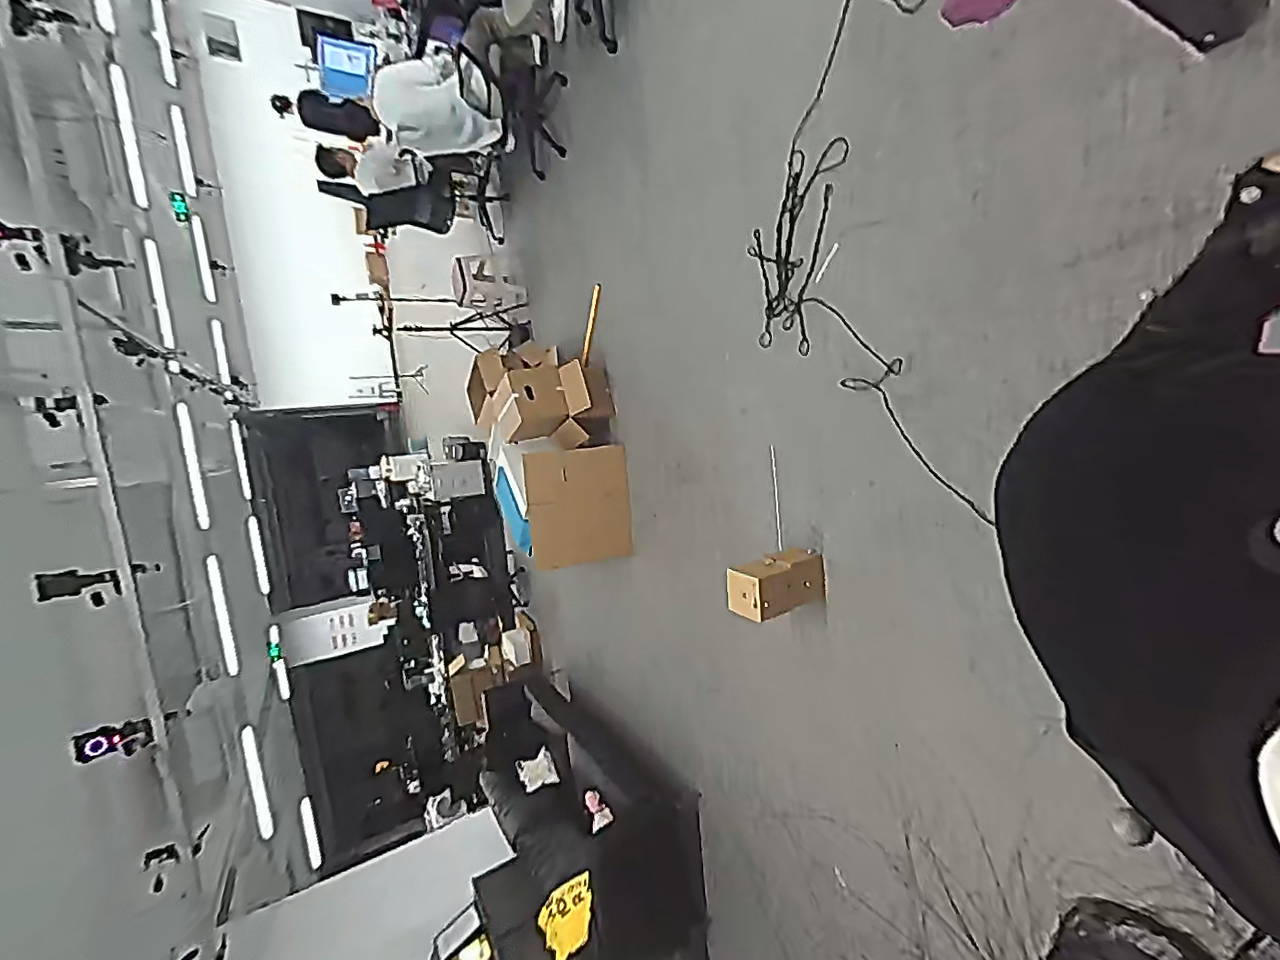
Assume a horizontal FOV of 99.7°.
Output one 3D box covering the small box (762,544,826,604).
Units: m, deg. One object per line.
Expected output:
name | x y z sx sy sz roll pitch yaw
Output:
small box | 0.593 0.353 2.072 0.168 0.176 0.179 7 106 60

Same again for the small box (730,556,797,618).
small box | 0.454 0.386 1.992 0.179 0.176 0.168 9 108 60
